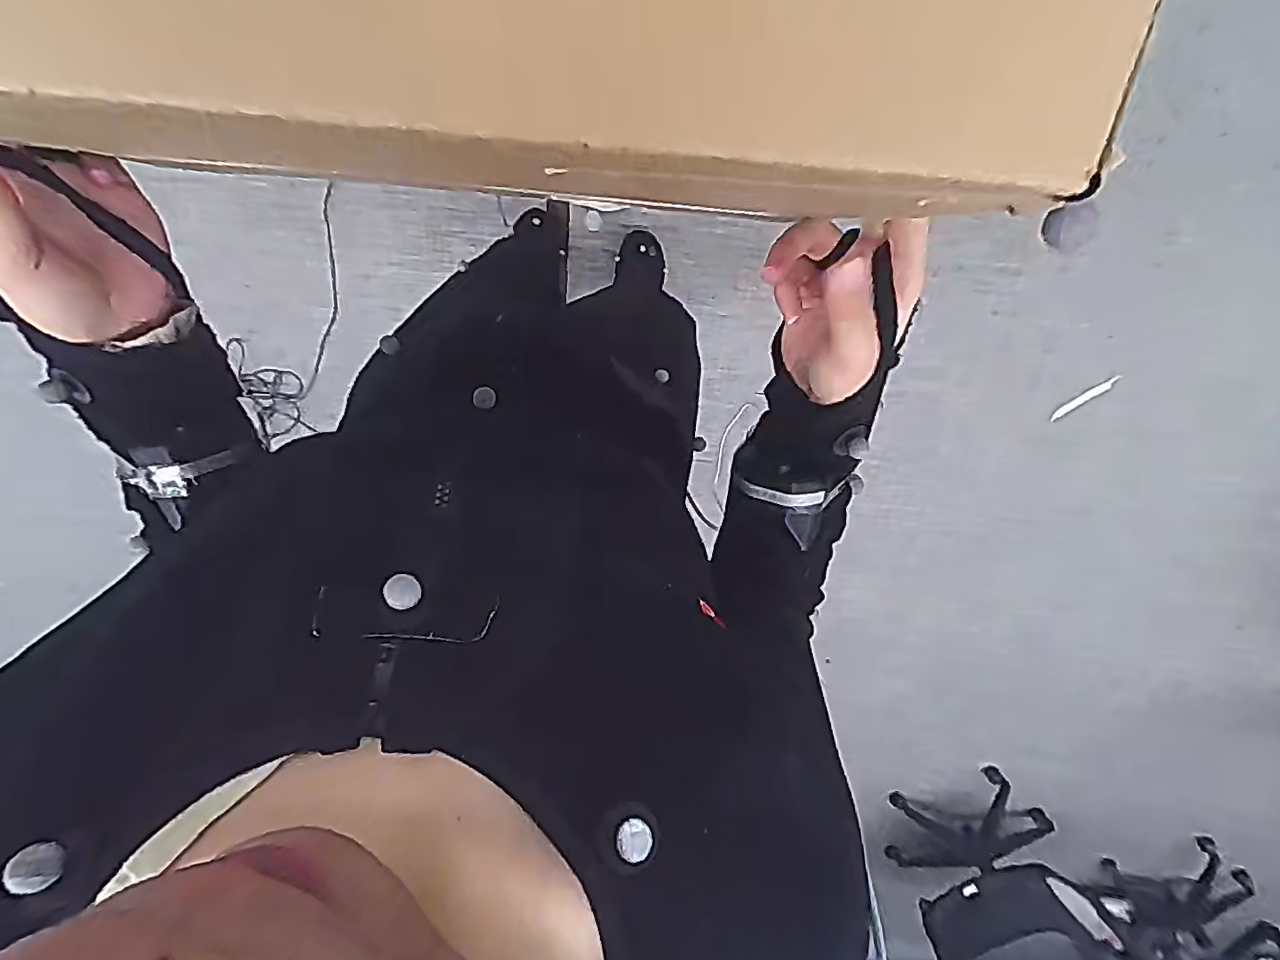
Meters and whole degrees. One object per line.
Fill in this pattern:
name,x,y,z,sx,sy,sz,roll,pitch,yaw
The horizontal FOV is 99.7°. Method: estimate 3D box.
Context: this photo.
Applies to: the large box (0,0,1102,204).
large box,-0.094,-0.287,0.190,0.408,0.320,0.320,3,116,-1
